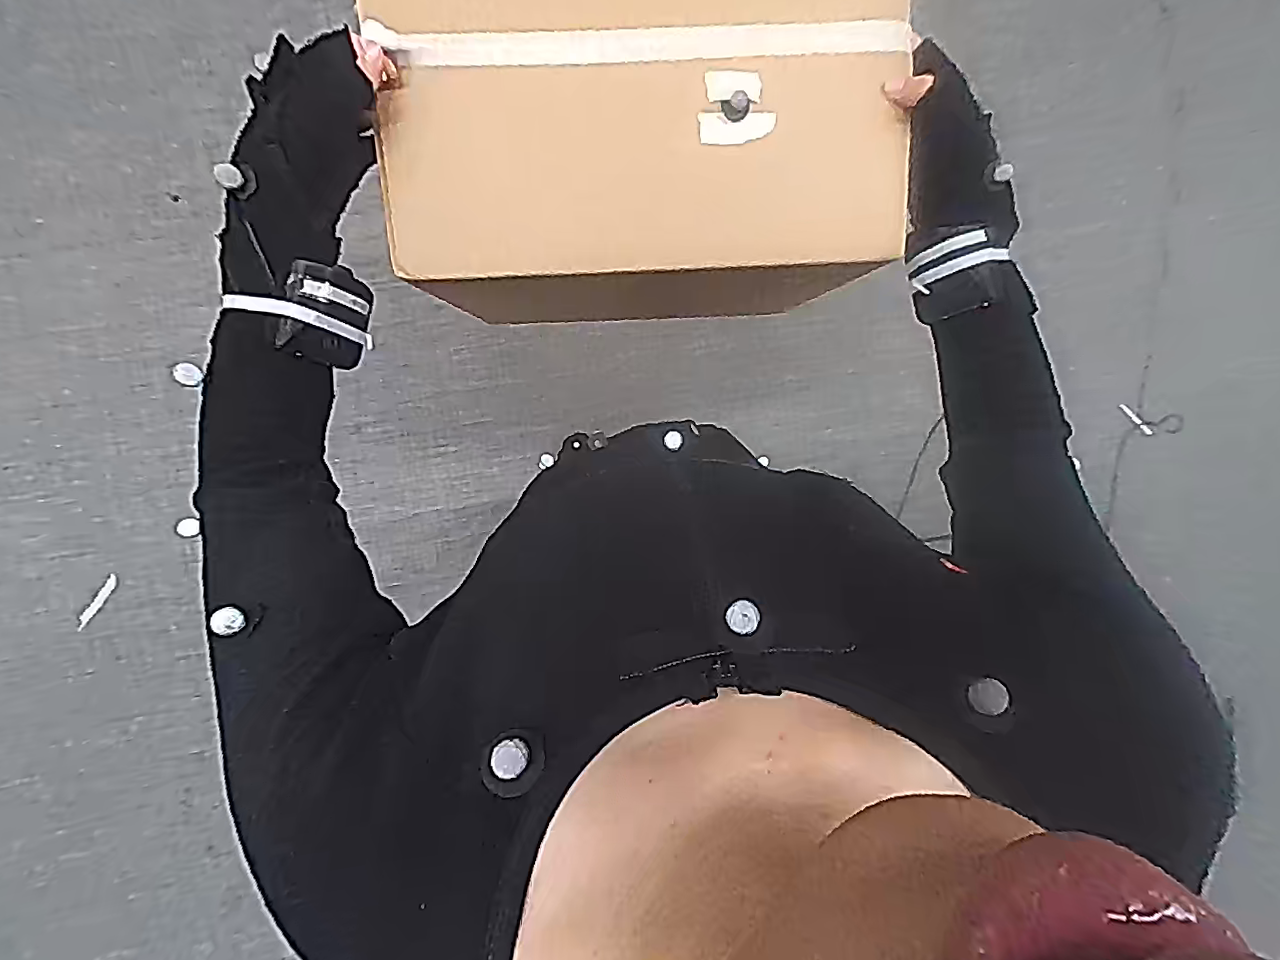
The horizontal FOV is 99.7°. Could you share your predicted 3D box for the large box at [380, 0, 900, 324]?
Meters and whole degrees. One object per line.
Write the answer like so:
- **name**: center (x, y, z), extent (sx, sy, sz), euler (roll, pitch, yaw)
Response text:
- **large box**: center (-0.004, -0.351, 0.564), extent (0.408, 0.320, 0.320), euler (-4, 100, -3)
